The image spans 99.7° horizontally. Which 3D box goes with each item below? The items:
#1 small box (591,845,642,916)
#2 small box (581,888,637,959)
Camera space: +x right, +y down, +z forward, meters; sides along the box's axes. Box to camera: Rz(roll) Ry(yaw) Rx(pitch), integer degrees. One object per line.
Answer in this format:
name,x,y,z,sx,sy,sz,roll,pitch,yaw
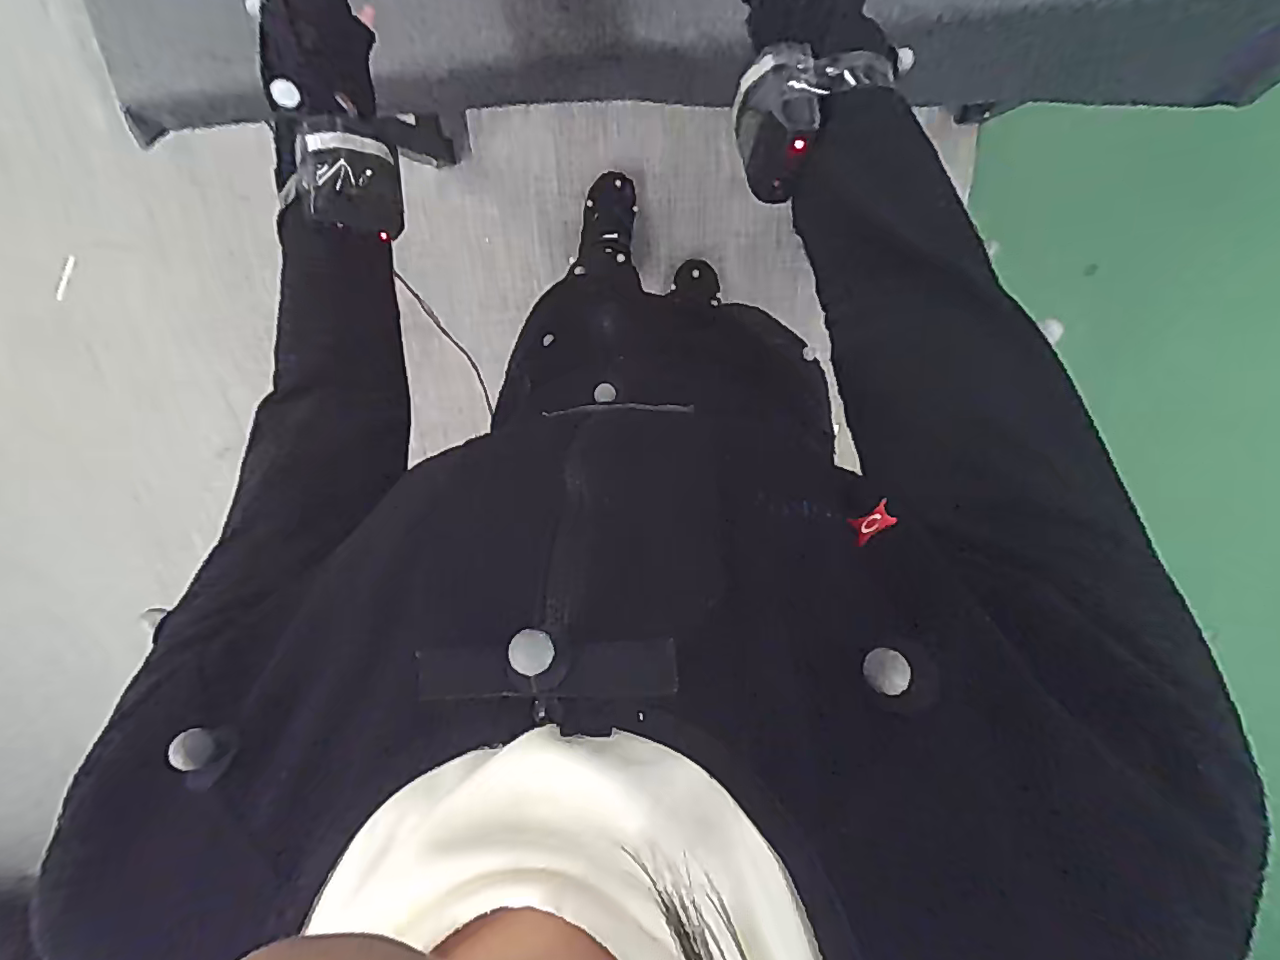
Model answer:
small box,-0.087,1.576,2.132,0.179,0.176,0.168,-1,115,5
small box,-0.110,1.640,1.983,0.179,0.176,0.168,0,115,7
